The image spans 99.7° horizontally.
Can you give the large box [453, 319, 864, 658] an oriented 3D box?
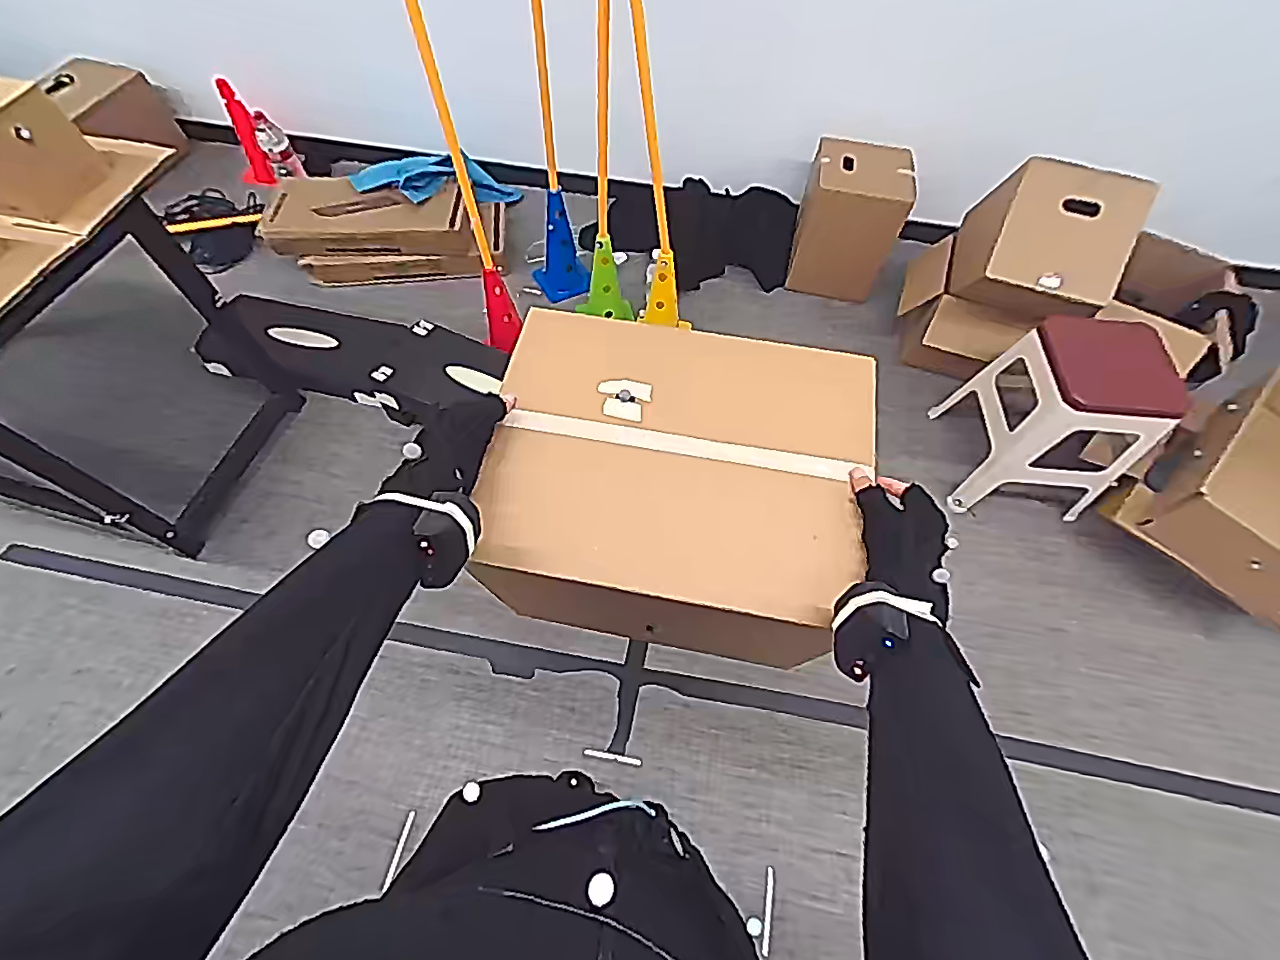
[{"bbox_3d":[0.040,0.031,0.713,0.408,0.320,0.320,10,65,6],"label":"large box"}]
